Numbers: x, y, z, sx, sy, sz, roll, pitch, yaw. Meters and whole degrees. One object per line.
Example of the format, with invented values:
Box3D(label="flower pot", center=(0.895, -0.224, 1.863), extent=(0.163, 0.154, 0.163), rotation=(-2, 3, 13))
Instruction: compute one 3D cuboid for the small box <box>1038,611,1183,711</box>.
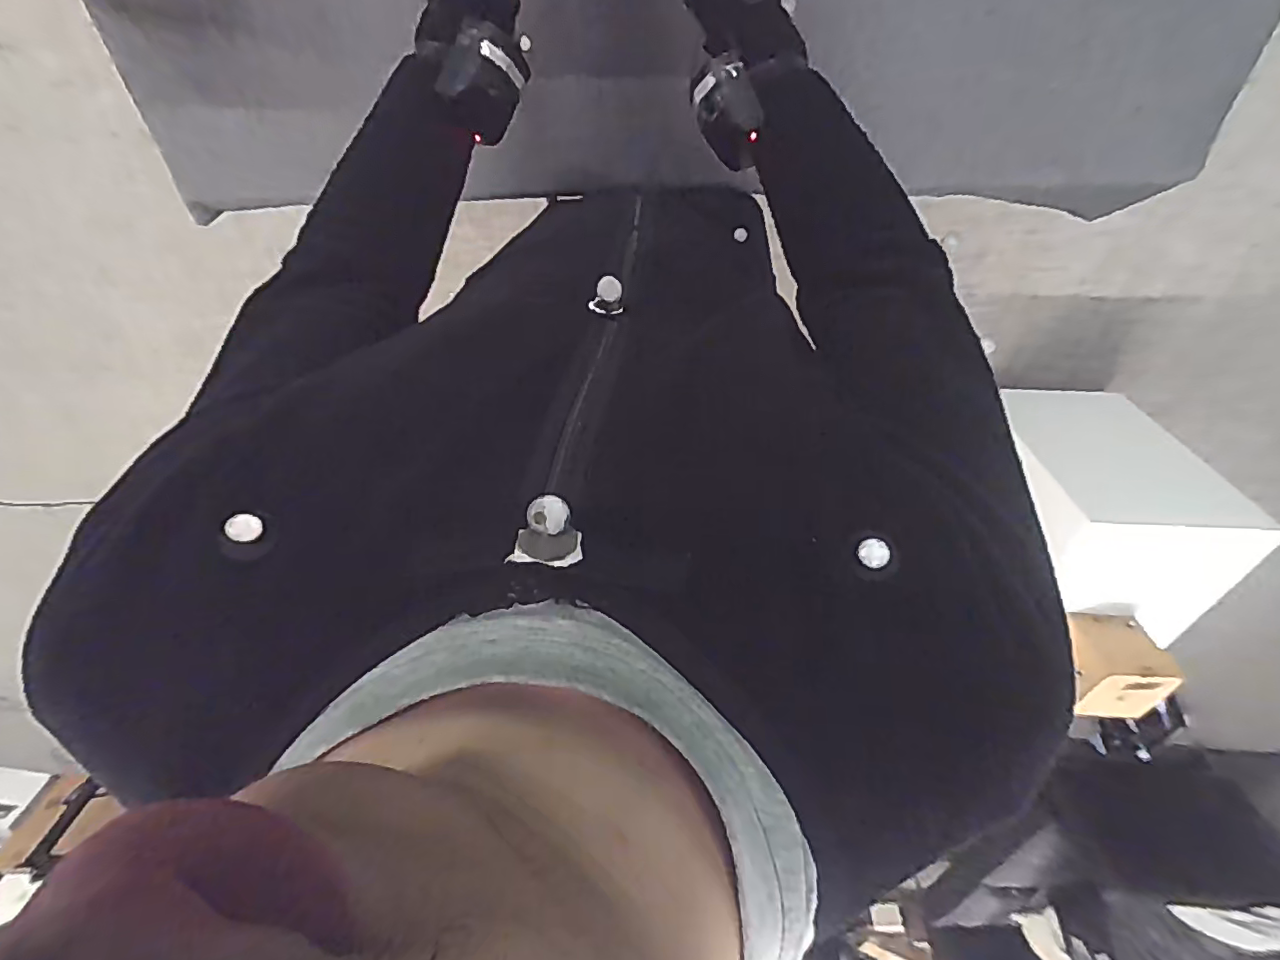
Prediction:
Box3D(label="small box", center=(1.112, 0.431, 1.299), extent=(0.168, 0.176, 0.179), rotation=(2, 129, 0))
